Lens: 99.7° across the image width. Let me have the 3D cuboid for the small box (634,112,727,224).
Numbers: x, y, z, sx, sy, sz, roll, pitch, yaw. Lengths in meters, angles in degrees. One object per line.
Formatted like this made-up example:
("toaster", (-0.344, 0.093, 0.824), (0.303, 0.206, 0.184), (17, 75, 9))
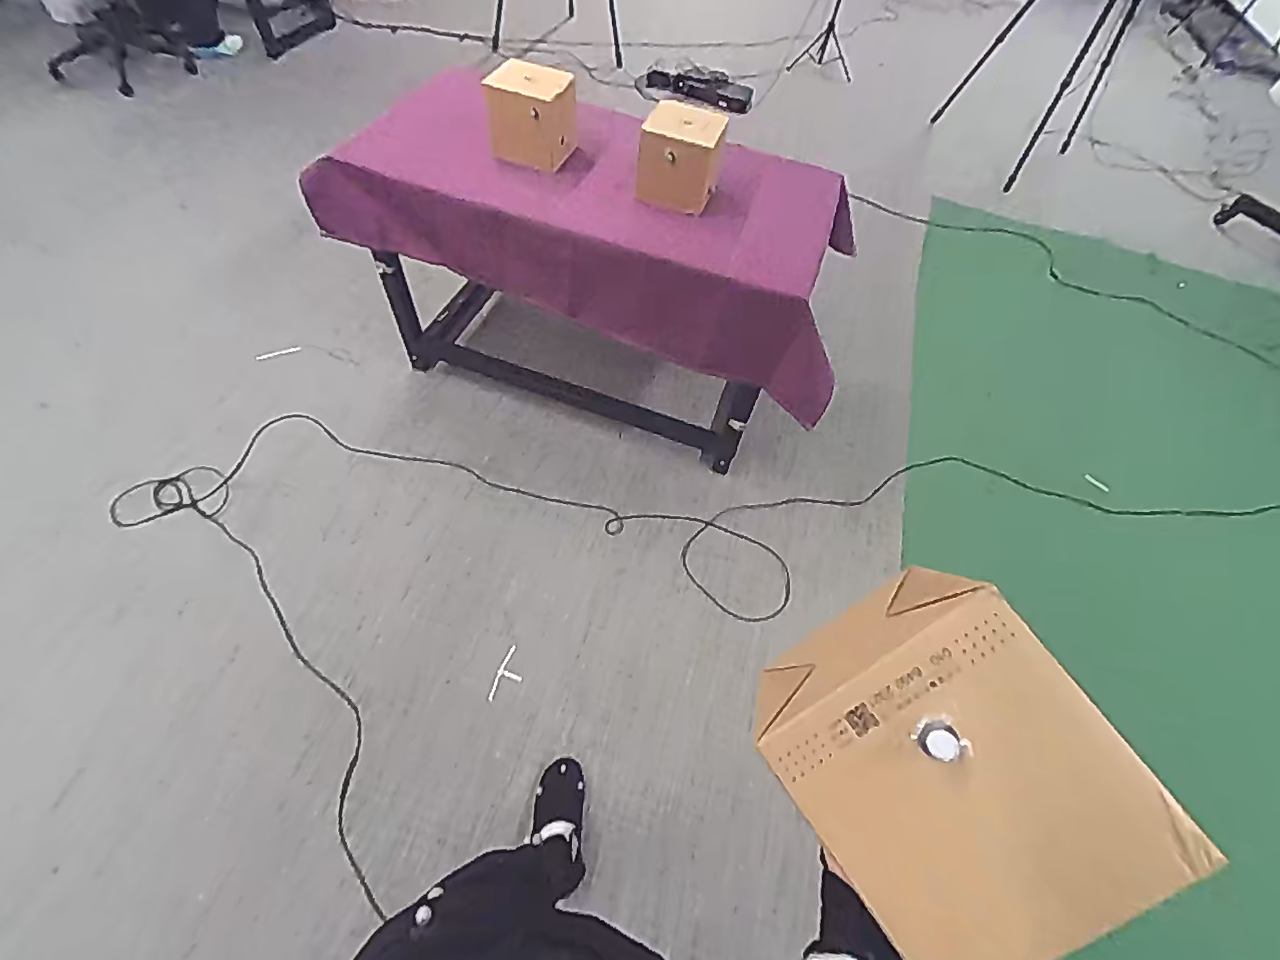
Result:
("small box", (0.094, -0.759, 1.323), (0.179, 0.176, 0.168), (19, 57, 6))

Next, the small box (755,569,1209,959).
("small box", (0.196, 0.175, 0.378), (0.168, 0.179, 0.176), (-38, 76, 7))

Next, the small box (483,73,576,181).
("small box", (-0.273, -0.888, 1.369), (0.179, 0.176, 0.168), (18, 56, 5))
